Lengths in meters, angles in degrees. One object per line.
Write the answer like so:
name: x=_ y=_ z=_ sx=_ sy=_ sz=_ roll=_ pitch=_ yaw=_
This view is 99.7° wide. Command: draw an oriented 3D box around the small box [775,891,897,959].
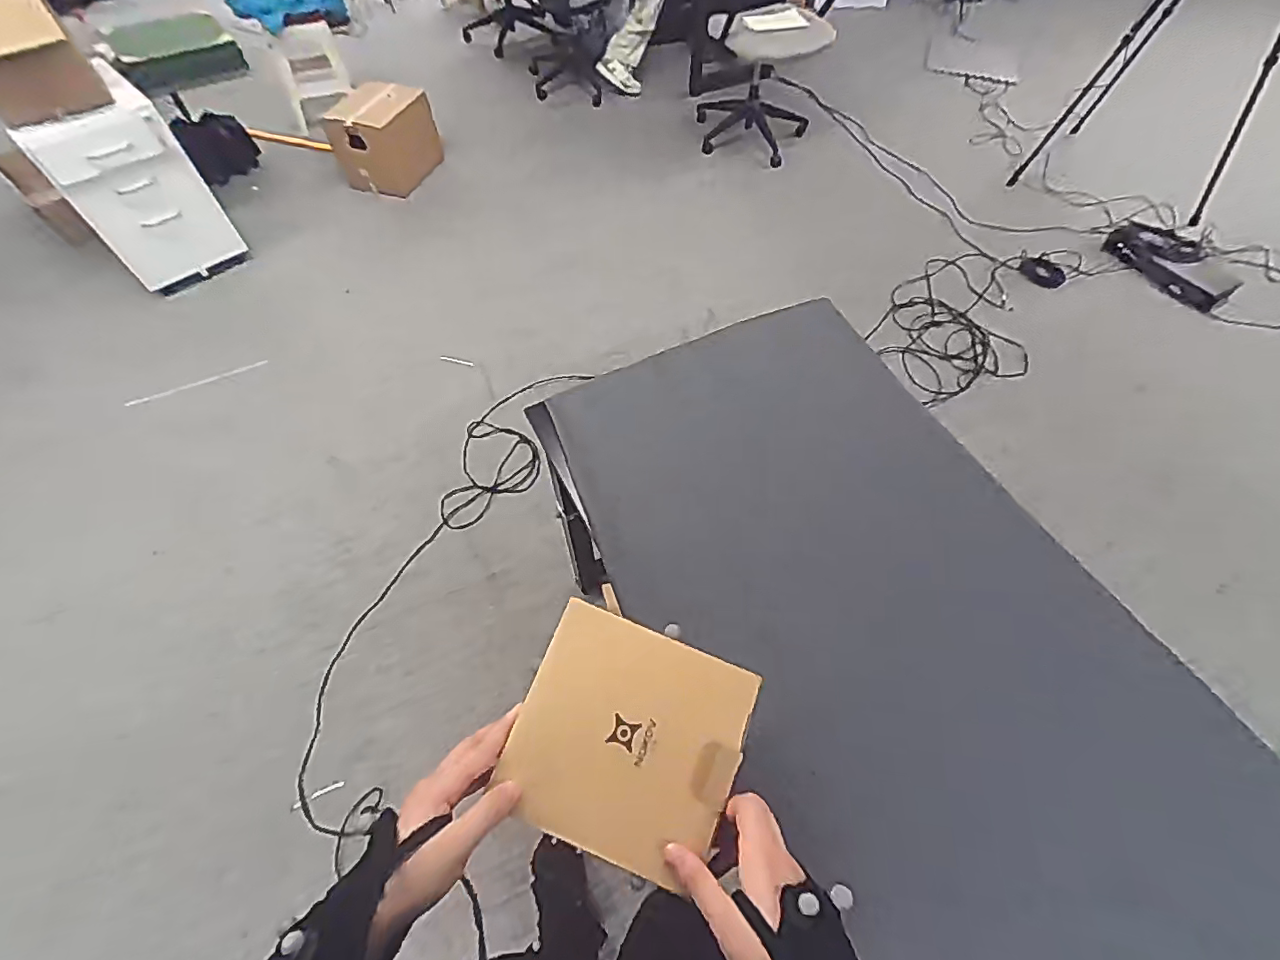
small box: x=0.379 y=0.917 z=1.029 sx=0.168 sy=0.176 sz=0.179 roll=-19 pitch=59 yaw=-12

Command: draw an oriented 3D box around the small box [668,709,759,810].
small box: x=0.157 y=0.635 z=1.221 sx=0.168 sy=0.176 sz=0.179 roll=-6 pitch=55 yaw=-5

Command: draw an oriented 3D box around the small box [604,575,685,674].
small box: x=0.007 y=0.375 z=1.396 sx=0.168 sy=0.176 sz=0.179 roll=-13 pitch=56 yaw=-9
